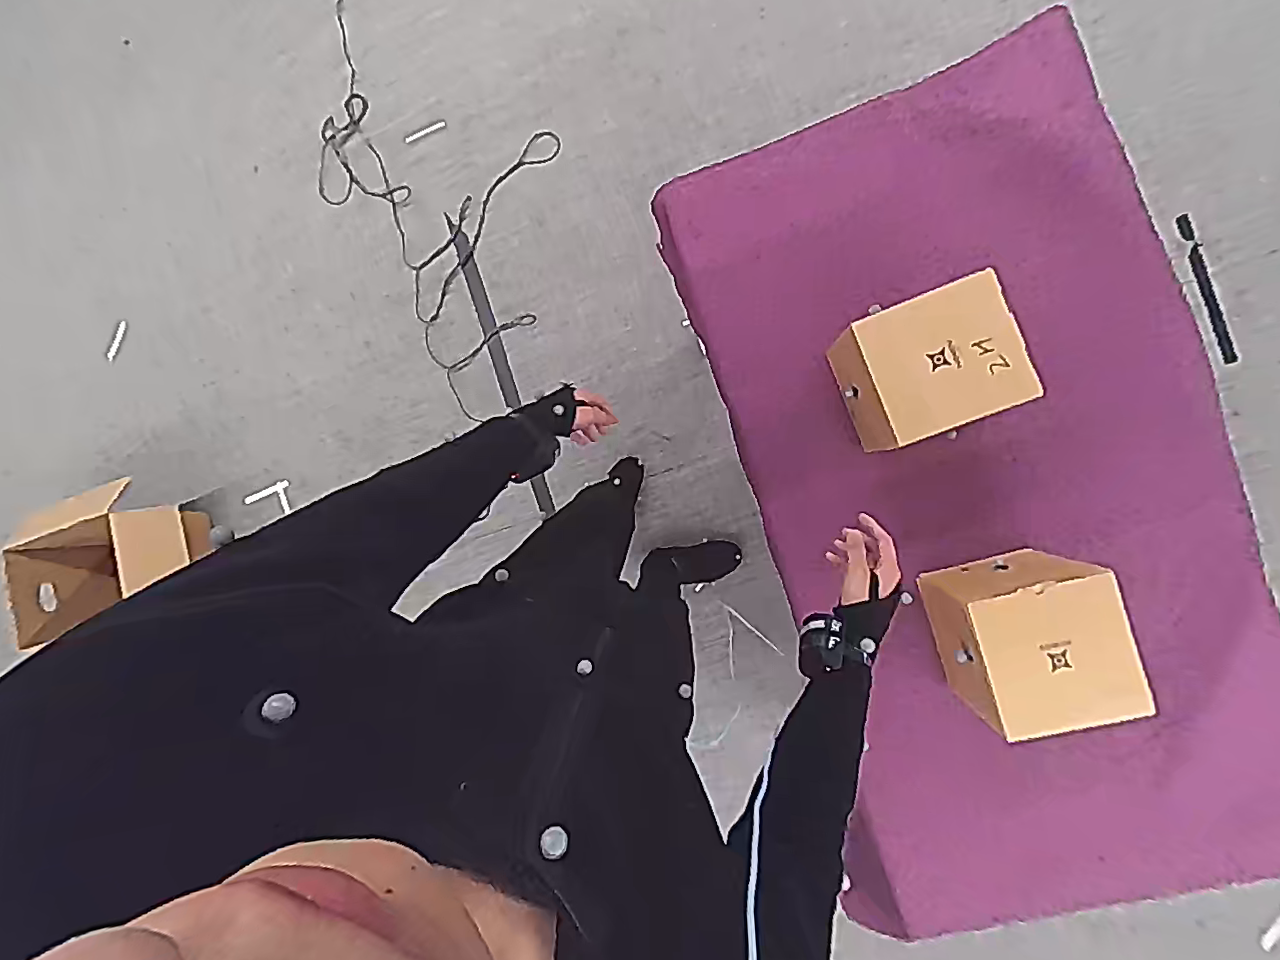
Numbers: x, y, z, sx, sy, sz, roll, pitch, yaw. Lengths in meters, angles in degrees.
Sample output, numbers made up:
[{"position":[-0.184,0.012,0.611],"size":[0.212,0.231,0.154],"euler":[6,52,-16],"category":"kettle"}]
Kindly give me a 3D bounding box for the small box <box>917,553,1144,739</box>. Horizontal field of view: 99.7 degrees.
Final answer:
[{"position":[0.500,0.209,0.721],"size":[0.168,0.176,0.179],"euler":[-16,88,9],"category":"small box"}]

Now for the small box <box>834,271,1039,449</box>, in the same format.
[{"position":[0.377,-0.145,0.730],"size":[0.179,0.176,0.168],"euler":[-20,88,8],"category":"small box"}]
